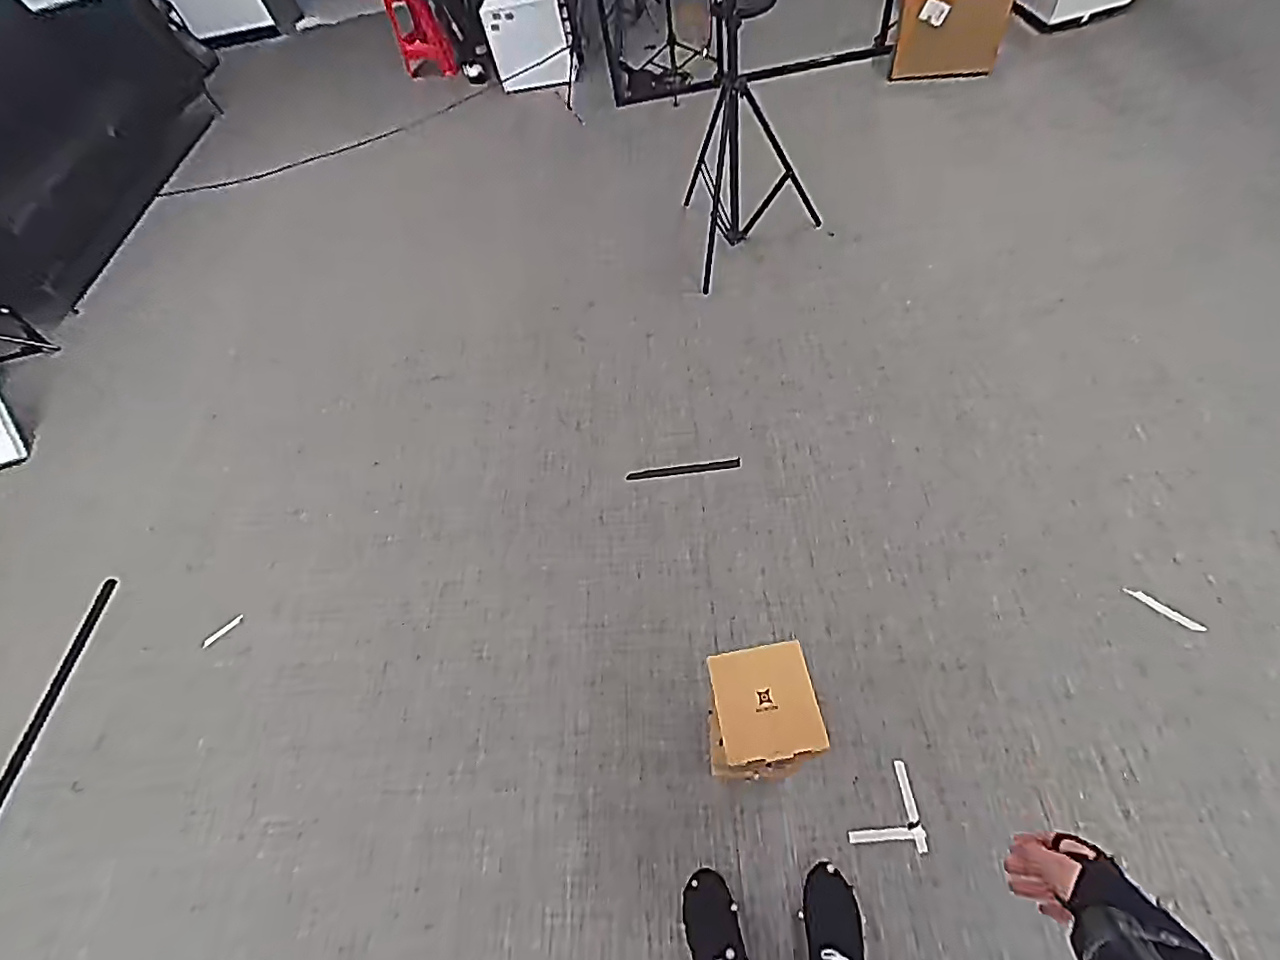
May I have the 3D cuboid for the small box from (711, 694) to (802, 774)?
[{"bbox_3d":[0.231,0.490,1.098,0.168,0.176,0.179,-3,59,10],"label":"small box"}]

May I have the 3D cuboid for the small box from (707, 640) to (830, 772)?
[{"bbox_3d":[0.218,0.404,0.960,0.168,0.176,0.179,-12,58,3],"label":"small box"}]
